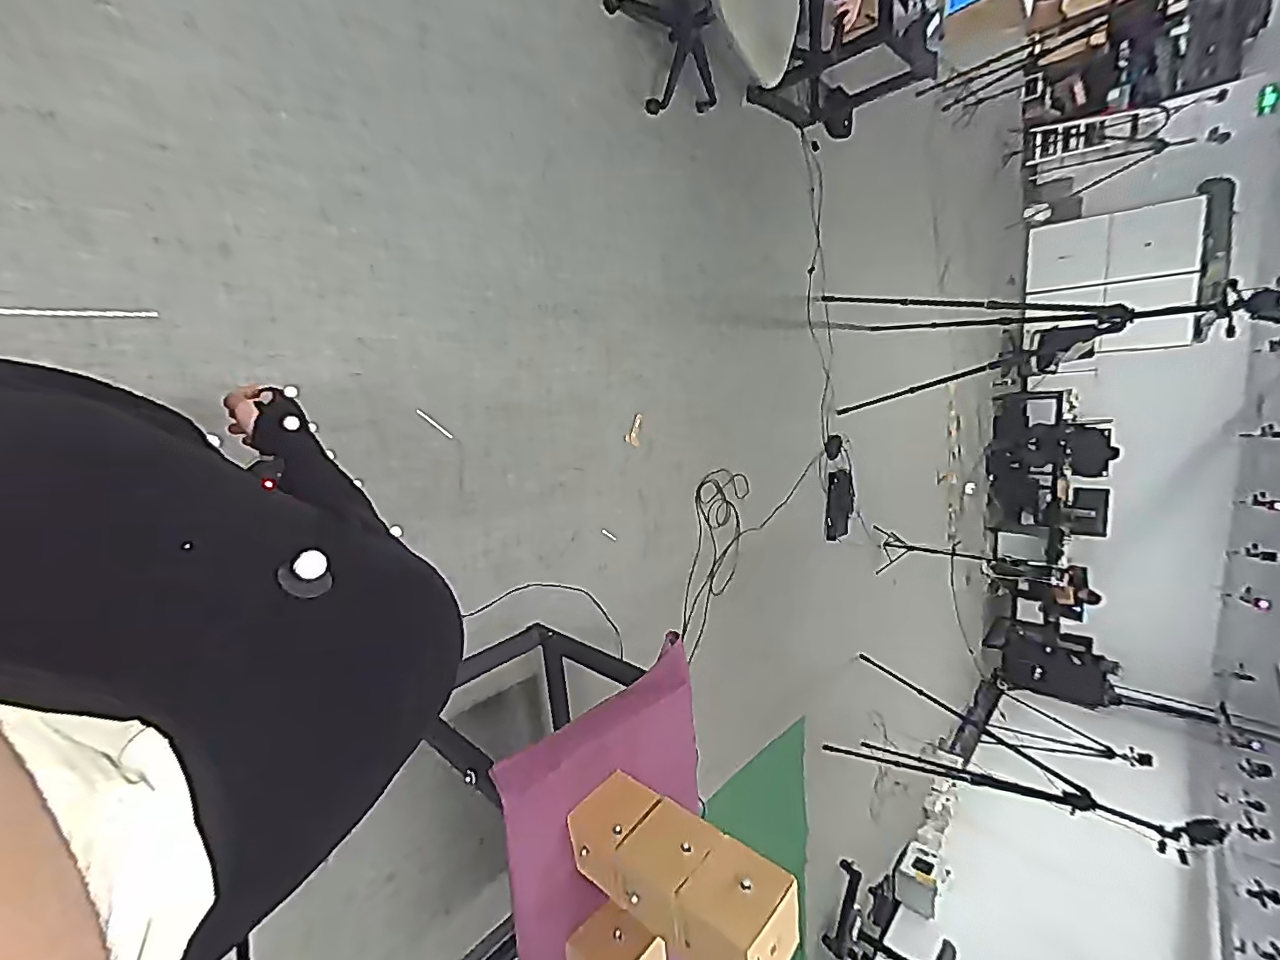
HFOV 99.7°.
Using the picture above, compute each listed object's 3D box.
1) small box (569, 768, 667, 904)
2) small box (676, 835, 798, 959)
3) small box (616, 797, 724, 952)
[{"bbox_3d":[-0.044,0.834,1.291,0.179,0.176,0.168,-21,110,-42],"label":"small box"},{"bbox_3d":[0.192,0.854,1.063,0.179,0.176,0.168,-20,109,-44],"label":"small box"},{"bbox_3d":[0.072,0.841,1.175,0.179,0.176,0.168,-23,110,-42],"label":"small box"}]
